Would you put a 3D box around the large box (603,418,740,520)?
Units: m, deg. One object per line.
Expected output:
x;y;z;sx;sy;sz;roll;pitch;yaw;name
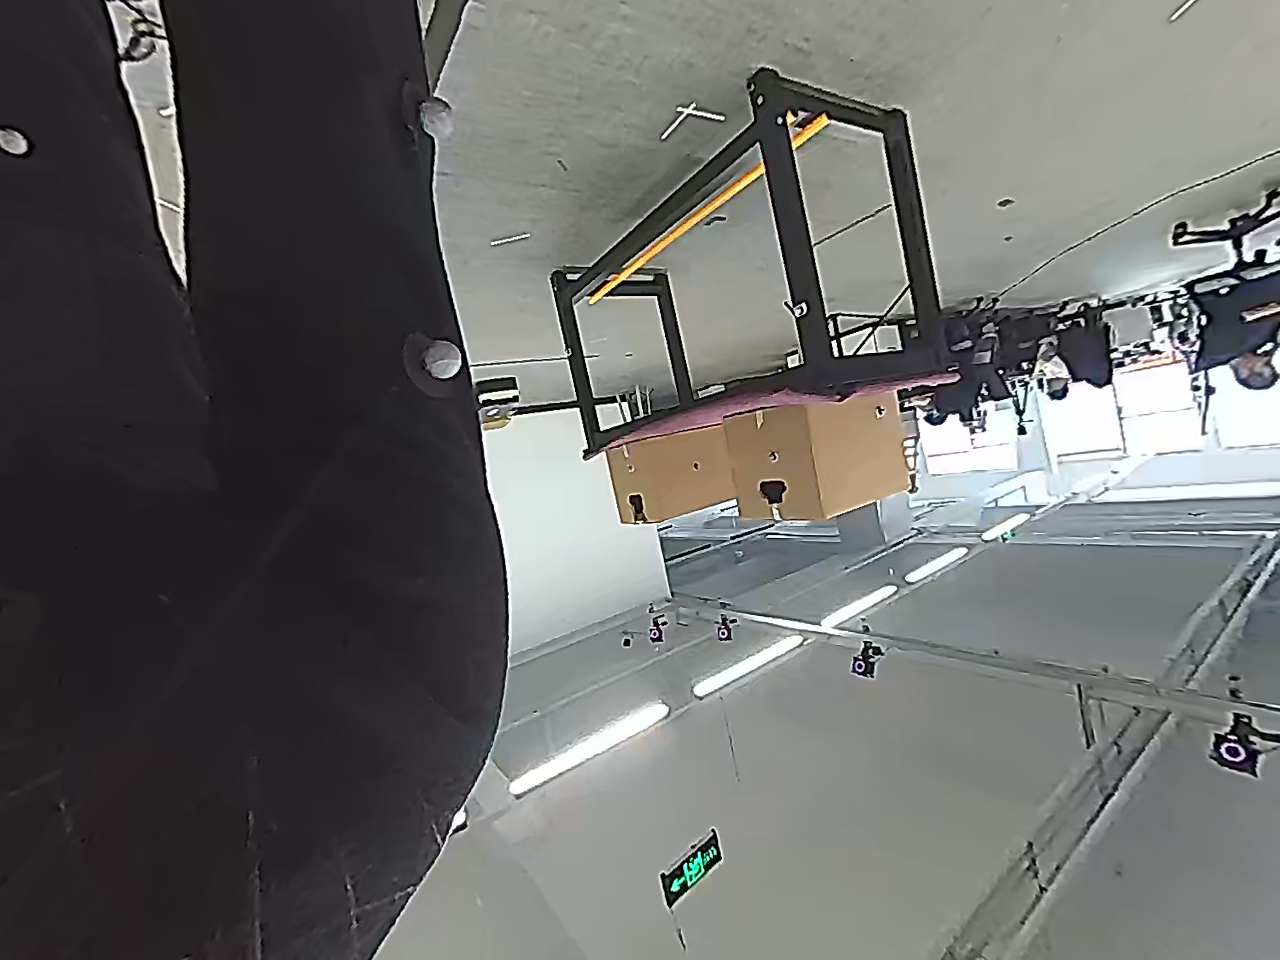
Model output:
0.121;-0.043;2.156;0.408;0.320;0.320;-15;-176;-33;large box
